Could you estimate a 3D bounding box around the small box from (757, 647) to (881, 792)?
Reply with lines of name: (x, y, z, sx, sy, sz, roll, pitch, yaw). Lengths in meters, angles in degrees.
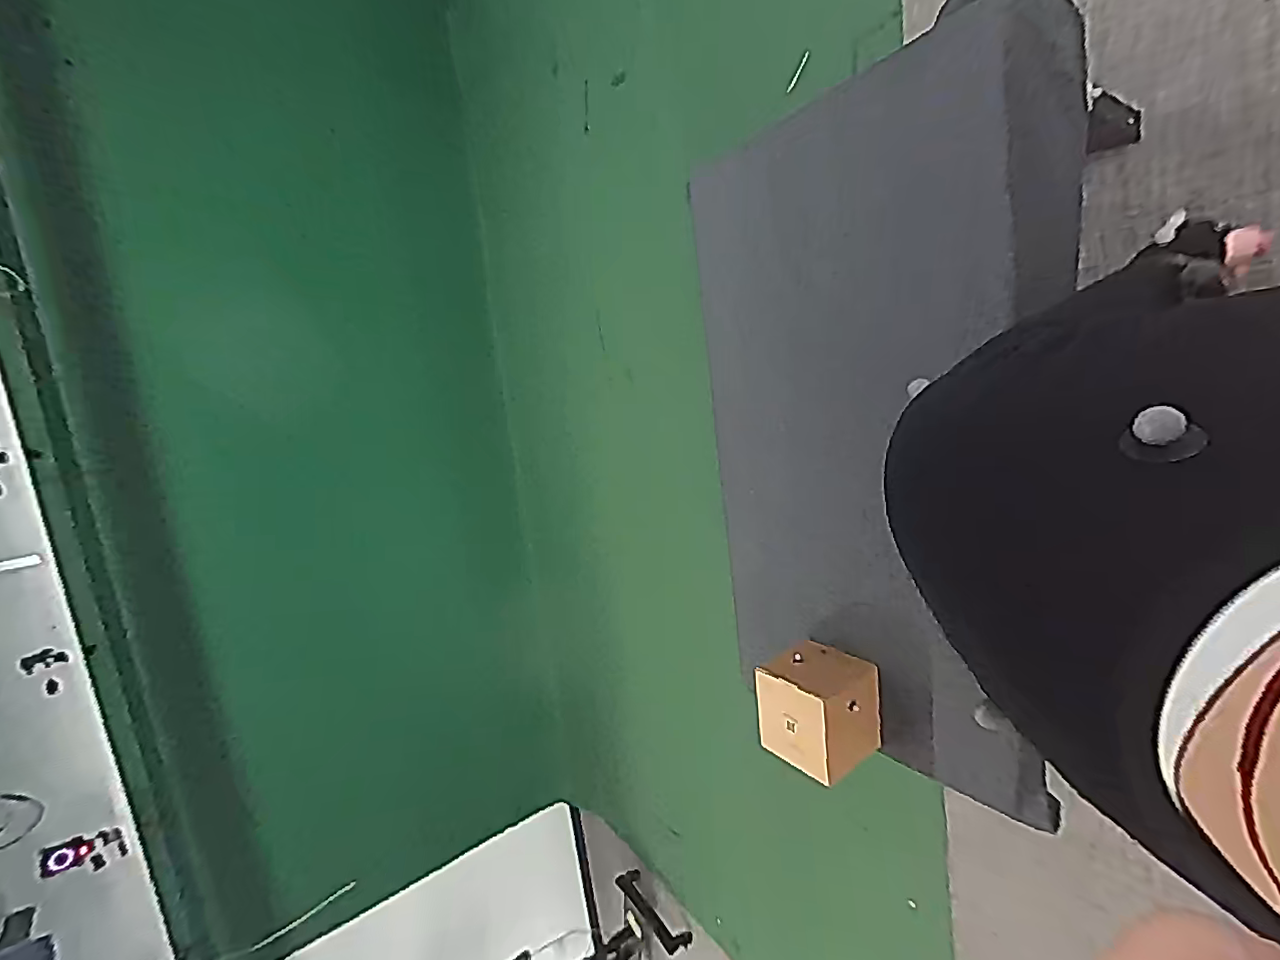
small box: (0.349, 0.451, 1.055, 0.168, 0.176, 0.179, 11, 109, 56)
